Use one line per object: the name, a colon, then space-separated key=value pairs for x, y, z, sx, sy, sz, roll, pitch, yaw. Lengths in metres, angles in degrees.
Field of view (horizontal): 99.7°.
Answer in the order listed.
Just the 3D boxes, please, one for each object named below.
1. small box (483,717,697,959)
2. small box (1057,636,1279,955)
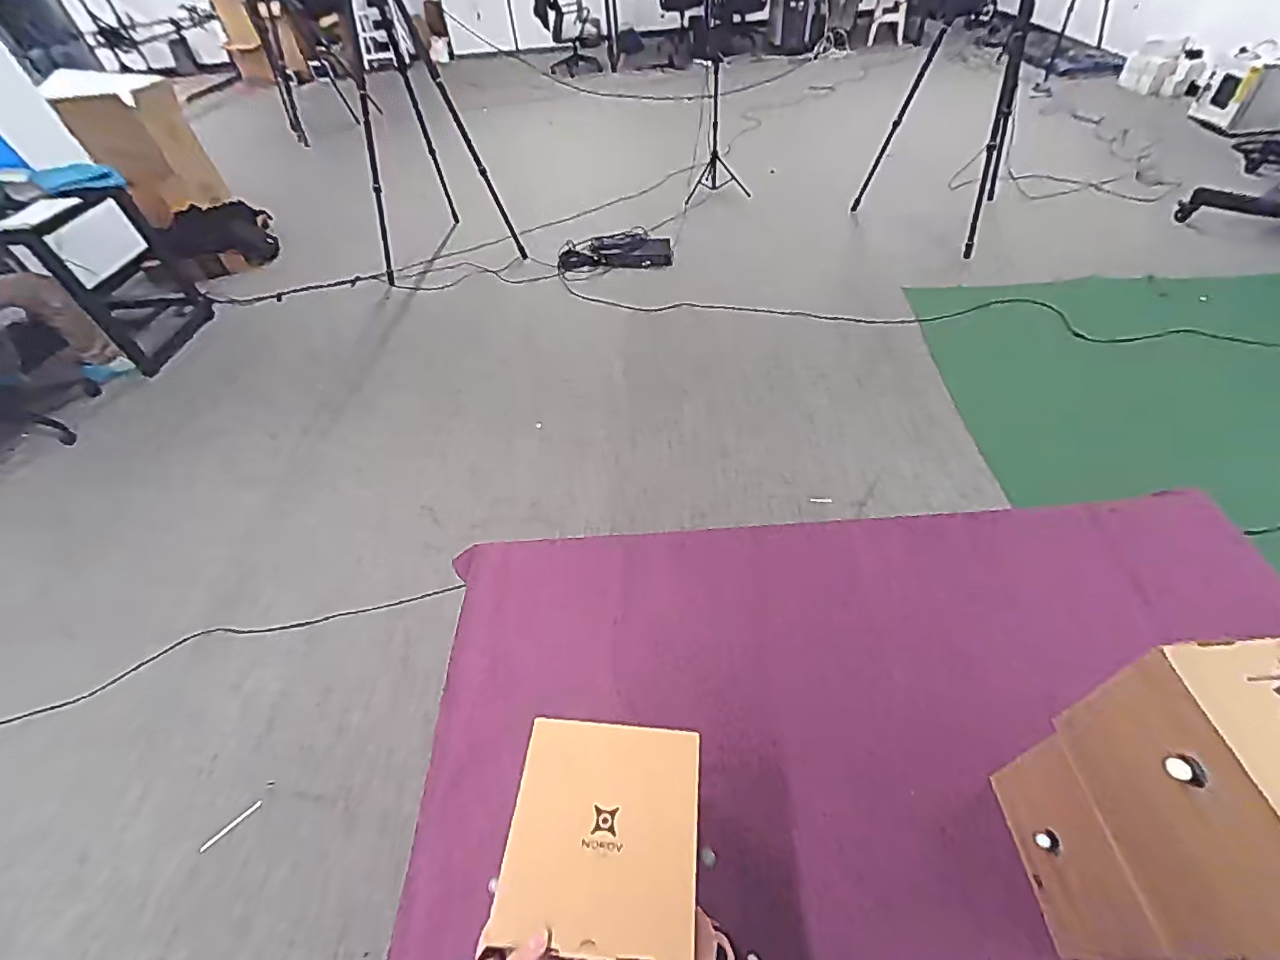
small box: x=-0.034 y=0.358 z=0.531 sx=0.168 sy=0.176 sz=0.179 roll=3 pitch=48 yaw=5
small box: x=0.472 y=0.235 z=0.407 sx=0.168 sy=0.176 sz=0.179 roll=-5 pitch=47 yaw=2
